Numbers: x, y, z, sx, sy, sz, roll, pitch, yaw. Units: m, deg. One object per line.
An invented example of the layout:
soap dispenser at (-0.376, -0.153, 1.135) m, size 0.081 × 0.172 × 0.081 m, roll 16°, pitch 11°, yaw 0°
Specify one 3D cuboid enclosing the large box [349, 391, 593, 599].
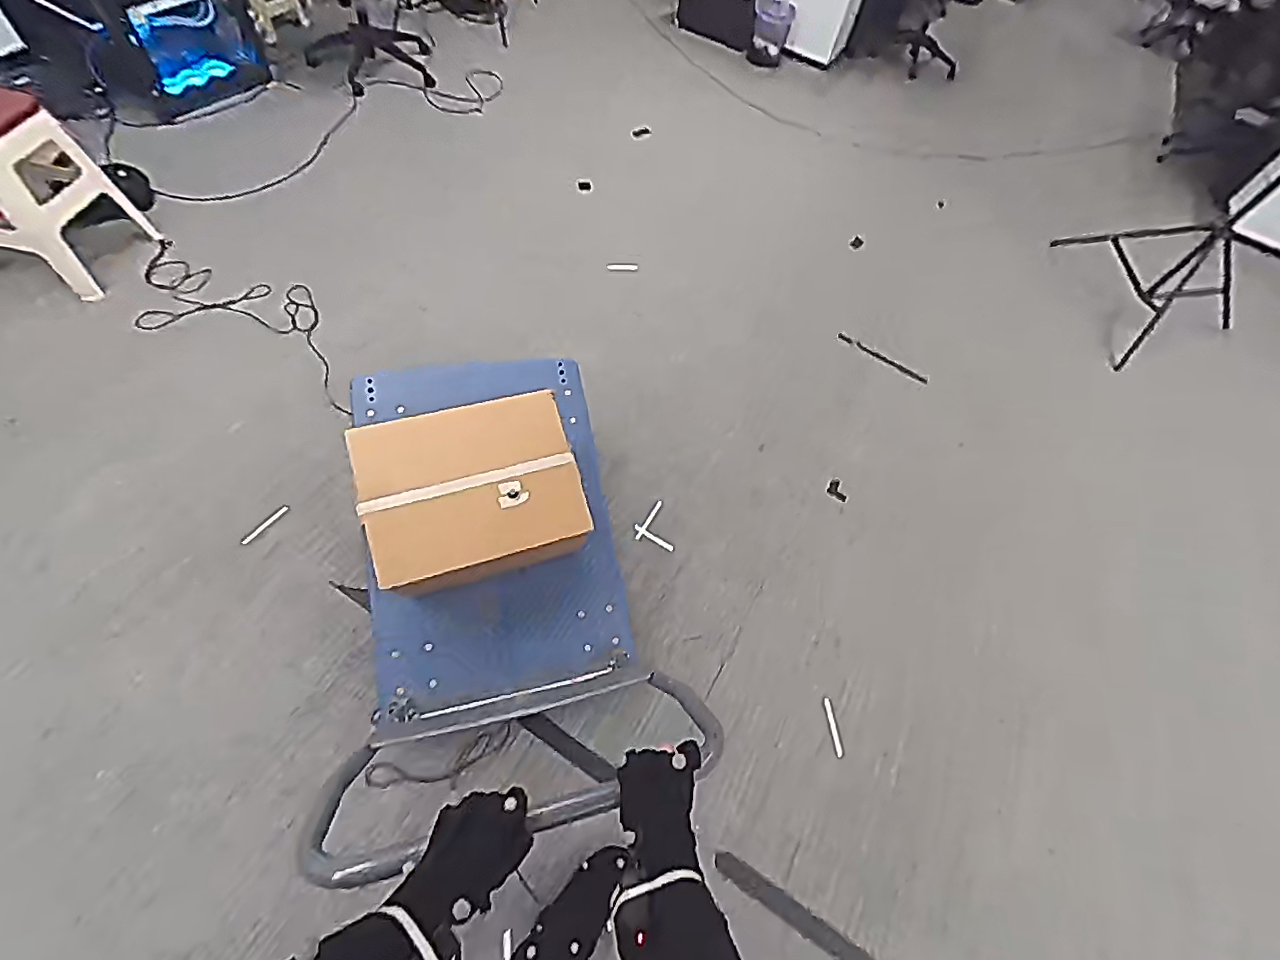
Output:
large box at (-0.359, 0.044, 1.192) m, size 0.408 × 0.320 × 0.320 m, roll -15°, pitch 80°, yaw -18°
